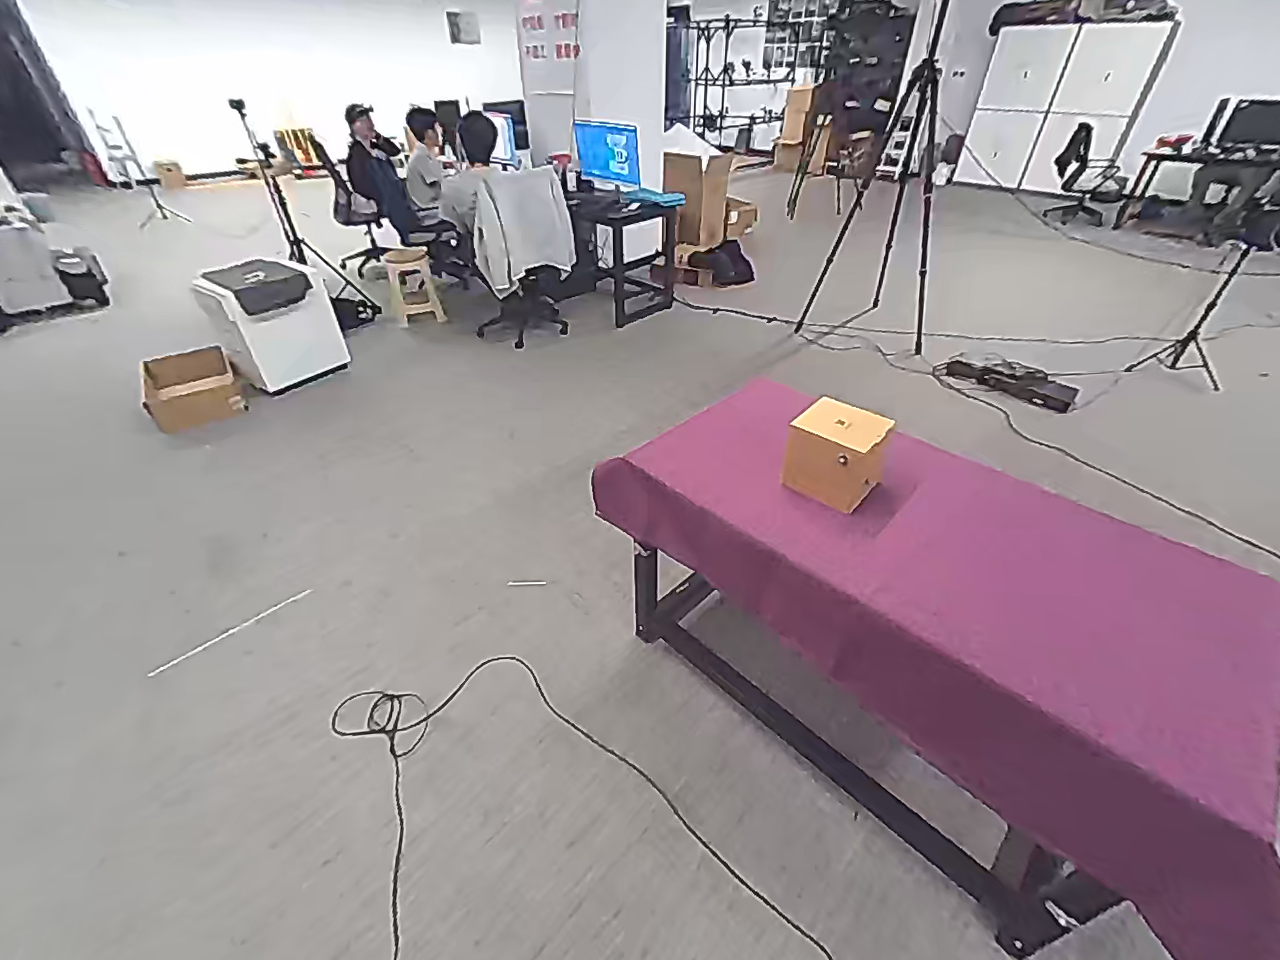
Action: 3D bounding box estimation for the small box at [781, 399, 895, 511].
[{"bbox_3d":[0.443,-0.057,1.230,0.179,0.176,0.168,29,46,31],"label":"small box"}]
